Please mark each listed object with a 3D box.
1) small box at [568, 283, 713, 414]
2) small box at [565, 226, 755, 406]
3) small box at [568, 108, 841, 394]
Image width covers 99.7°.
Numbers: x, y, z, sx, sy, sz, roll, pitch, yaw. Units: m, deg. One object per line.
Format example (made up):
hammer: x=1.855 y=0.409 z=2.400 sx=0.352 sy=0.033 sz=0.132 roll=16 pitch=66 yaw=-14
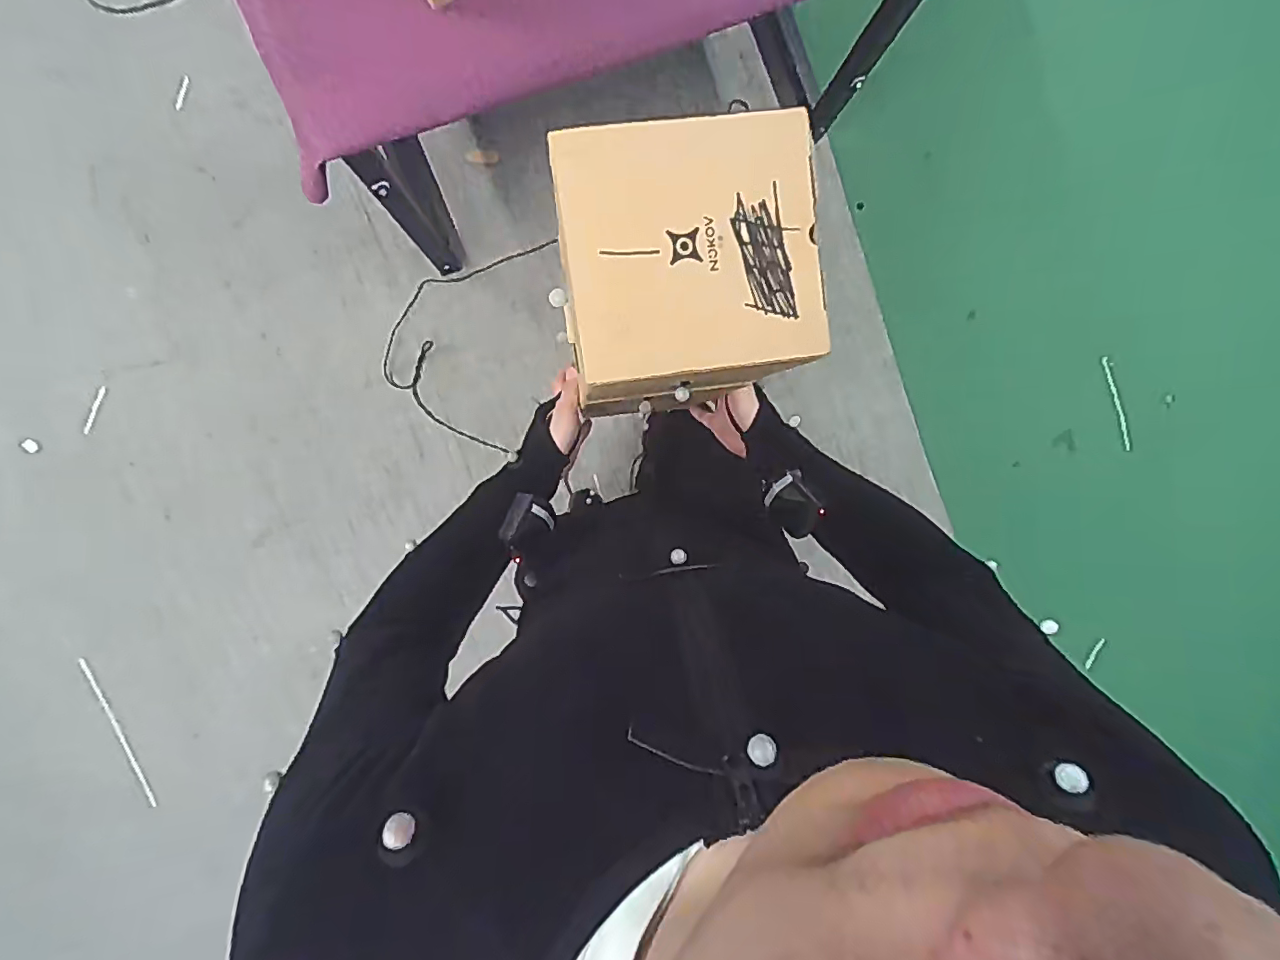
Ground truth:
small box: x=-0.006 y=-0.185 z=0.765 sx=0.179 sy=0.176 sz=0.168 roll=-6 pitch=95 yaw=-7
small box: x=0.015 y=-0.176 z=0.603 sx=0.179 sy=0.176 sz=0.168 roll=-7 pitch=95 yaw=-6
small box: x=0.037 y=-0.166 z=0.441 sx=0.179 sy=0.176 sz=0.168 roll=-8 pitch=95 yaw=-6
